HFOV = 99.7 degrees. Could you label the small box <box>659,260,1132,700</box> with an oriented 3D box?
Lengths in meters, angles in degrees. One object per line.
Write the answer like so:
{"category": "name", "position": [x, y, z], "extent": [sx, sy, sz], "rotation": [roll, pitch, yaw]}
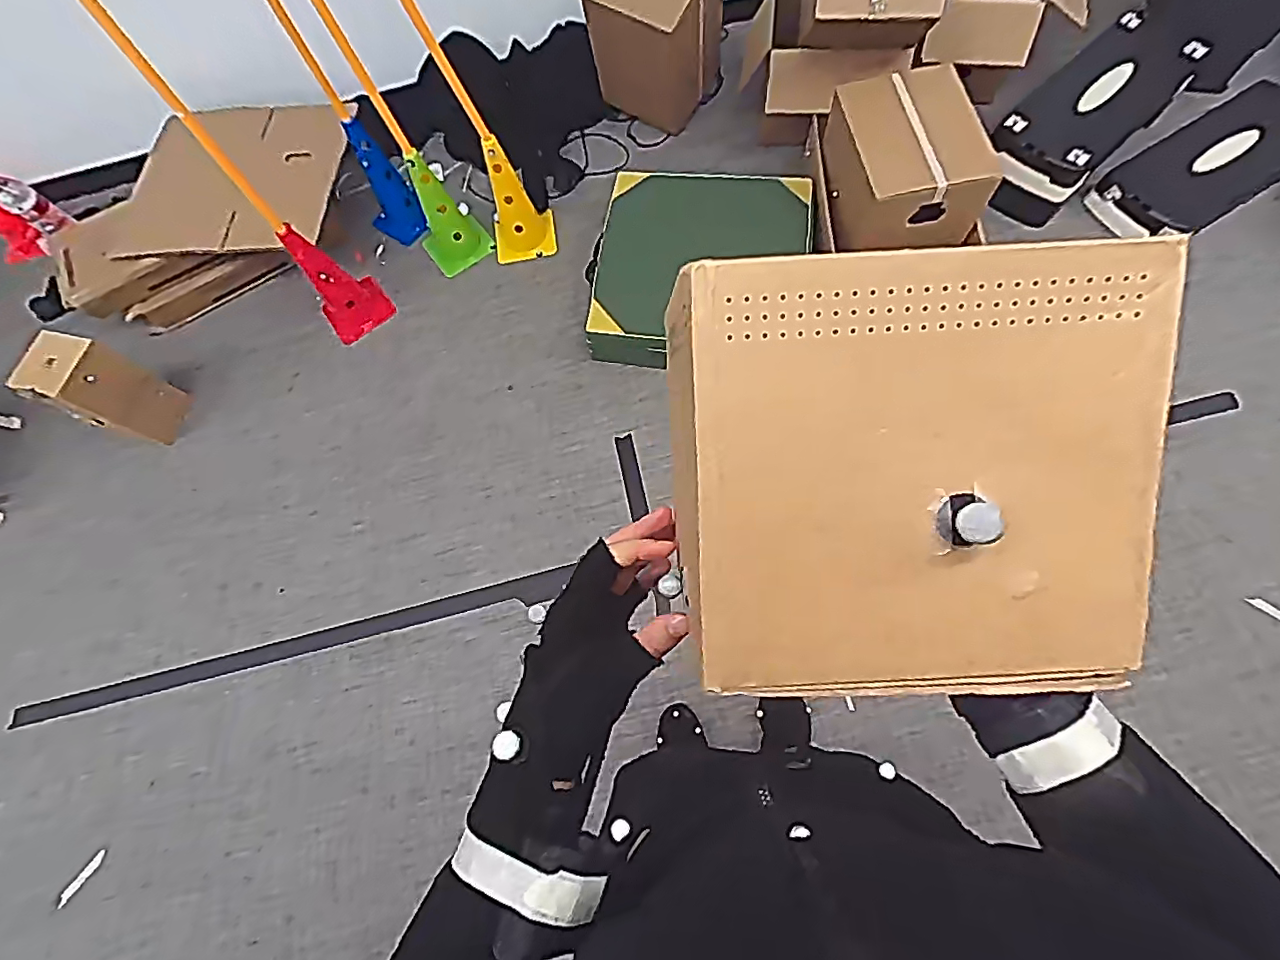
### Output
{"category": "small box", "position": [0.106, -0.011, 0.287], "extent": [0.179, 0.168, 0.176], "rotation": [-4, 99, 0]}
